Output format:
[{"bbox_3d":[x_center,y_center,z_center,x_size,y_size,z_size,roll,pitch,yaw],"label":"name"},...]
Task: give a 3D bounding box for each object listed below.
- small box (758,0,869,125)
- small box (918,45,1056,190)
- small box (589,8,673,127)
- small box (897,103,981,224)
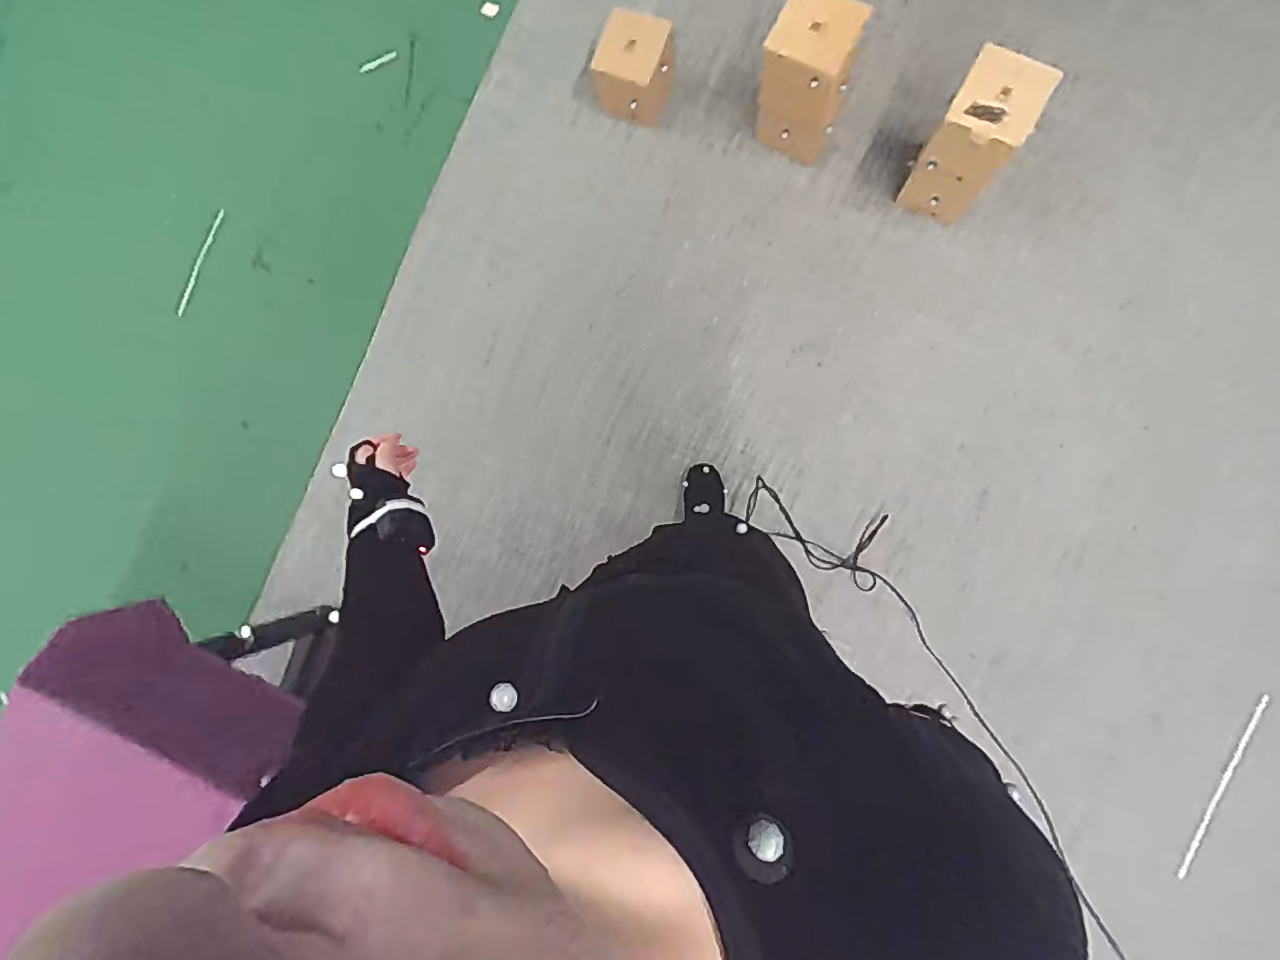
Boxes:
[{"bbox_3d":[0.384,-0.961,1.236,0.179,0.176,0.168,29,92,8],"label":"small box"},{"bbox_3d":[0.741,-0.777,1.180,0.168,0.176,0.179,29,92,8],"label":"small box"},{"bbox_3d":[-0.016,-1.104,1.462,0.168,0.176,0.179,23,91,7],"label":"small box"},{"bbox_3d":[0.767,-0.776,1.343,0.168,0.176,0.179,27,93,7],"label":"small box"}]
